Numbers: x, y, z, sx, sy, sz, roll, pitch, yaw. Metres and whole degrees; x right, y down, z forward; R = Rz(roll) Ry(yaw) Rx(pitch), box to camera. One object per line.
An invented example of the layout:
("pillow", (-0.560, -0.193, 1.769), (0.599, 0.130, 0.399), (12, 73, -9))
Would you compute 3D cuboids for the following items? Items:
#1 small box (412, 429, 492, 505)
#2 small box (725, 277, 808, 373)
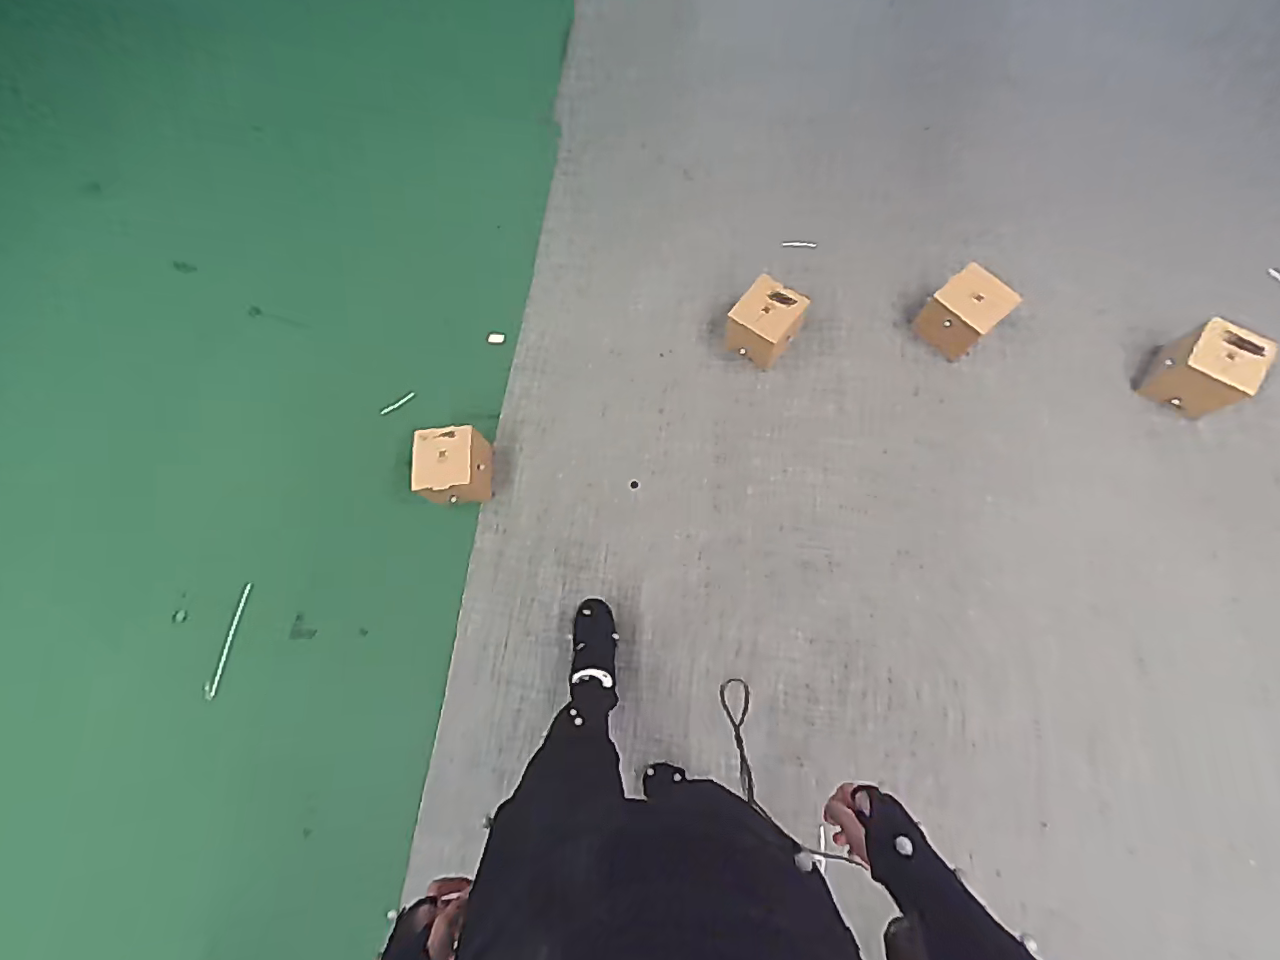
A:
("small box", (-0.532, -0.029, 1.551), (0.168, 0.176, 0.179), (-5, 73, 3))
("small box", (0.368, -0.457, 1.611), (0.168, 0.176, 0.179), (37, 80, 14))
